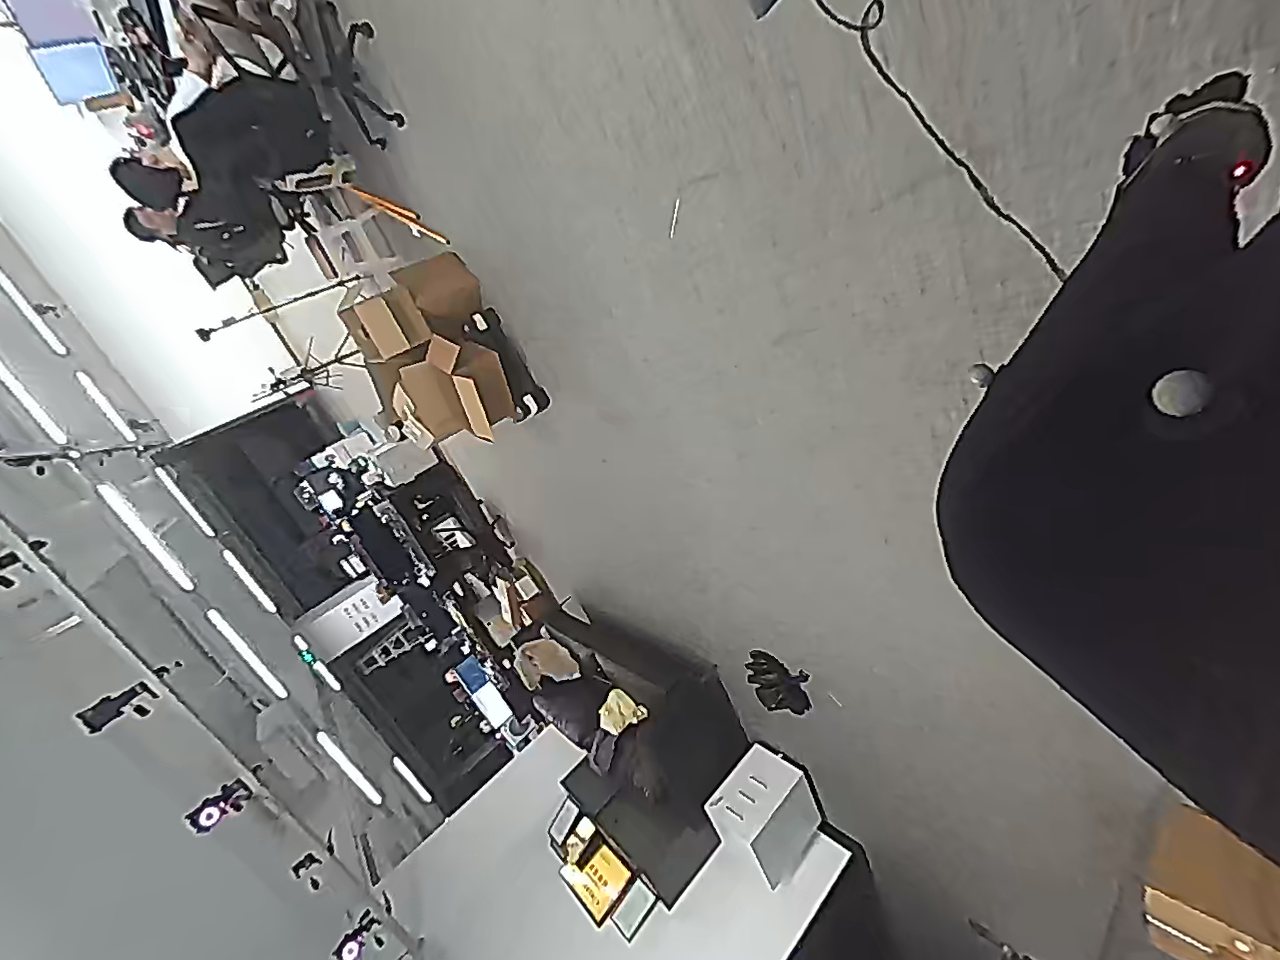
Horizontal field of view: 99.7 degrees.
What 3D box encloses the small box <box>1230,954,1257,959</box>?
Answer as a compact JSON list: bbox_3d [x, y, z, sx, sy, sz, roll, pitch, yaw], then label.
[{"bbox_3d":[1.574,1.344,1.346,0.179,0.176,0.168,14,129,51],"label":"small box"}]
